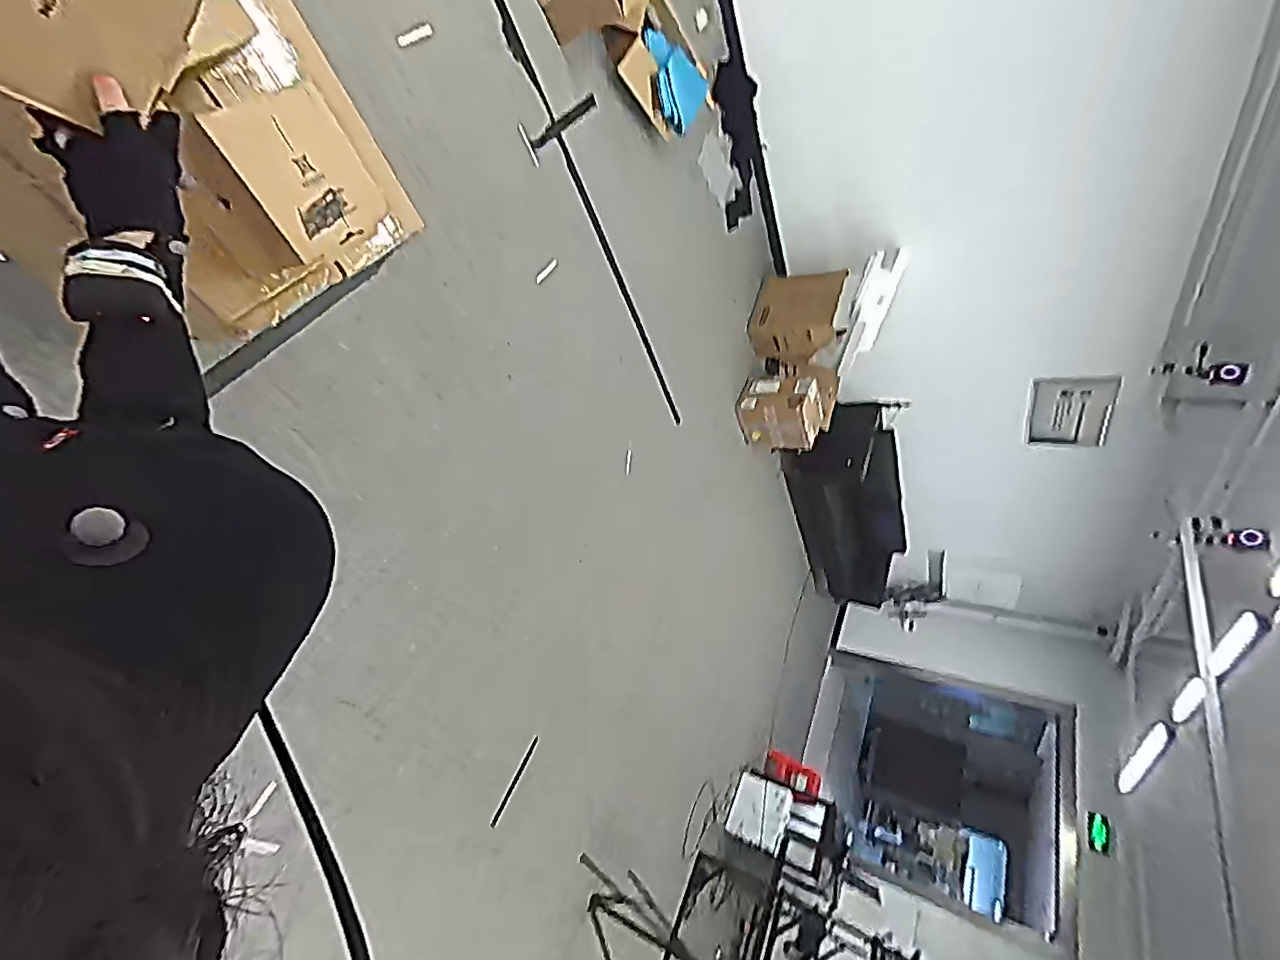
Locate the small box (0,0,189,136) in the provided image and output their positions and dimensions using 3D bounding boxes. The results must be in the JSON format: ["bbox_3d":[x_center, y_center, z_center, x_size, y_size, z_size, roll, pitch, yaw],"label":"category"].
[{"bbox_3d":[-0.484,-0.408,0.388,0.168,0.176,0.179,-50,168,13],"label":"small box"}]

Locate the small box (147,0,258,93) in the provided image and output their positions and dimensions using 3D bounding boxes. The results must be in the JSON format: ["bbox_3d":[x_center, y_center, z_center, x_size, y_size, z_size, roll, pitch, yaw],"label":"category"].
[{"bbox_3d":[-0.588,-0.548,0.593,0.168,0.176,0.179,-58,141,-32],"label":"small box"}]

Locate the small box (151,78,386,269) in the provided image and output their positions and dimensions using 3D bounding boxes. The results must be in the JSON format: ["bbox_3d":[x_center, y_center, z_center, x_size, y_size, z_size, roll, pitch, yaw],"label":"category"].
[{"bbox_3d":[-0.505,-0.409,0.746,0.168,0.176,0.179,-57,137,-35],"label":"small box"}]
